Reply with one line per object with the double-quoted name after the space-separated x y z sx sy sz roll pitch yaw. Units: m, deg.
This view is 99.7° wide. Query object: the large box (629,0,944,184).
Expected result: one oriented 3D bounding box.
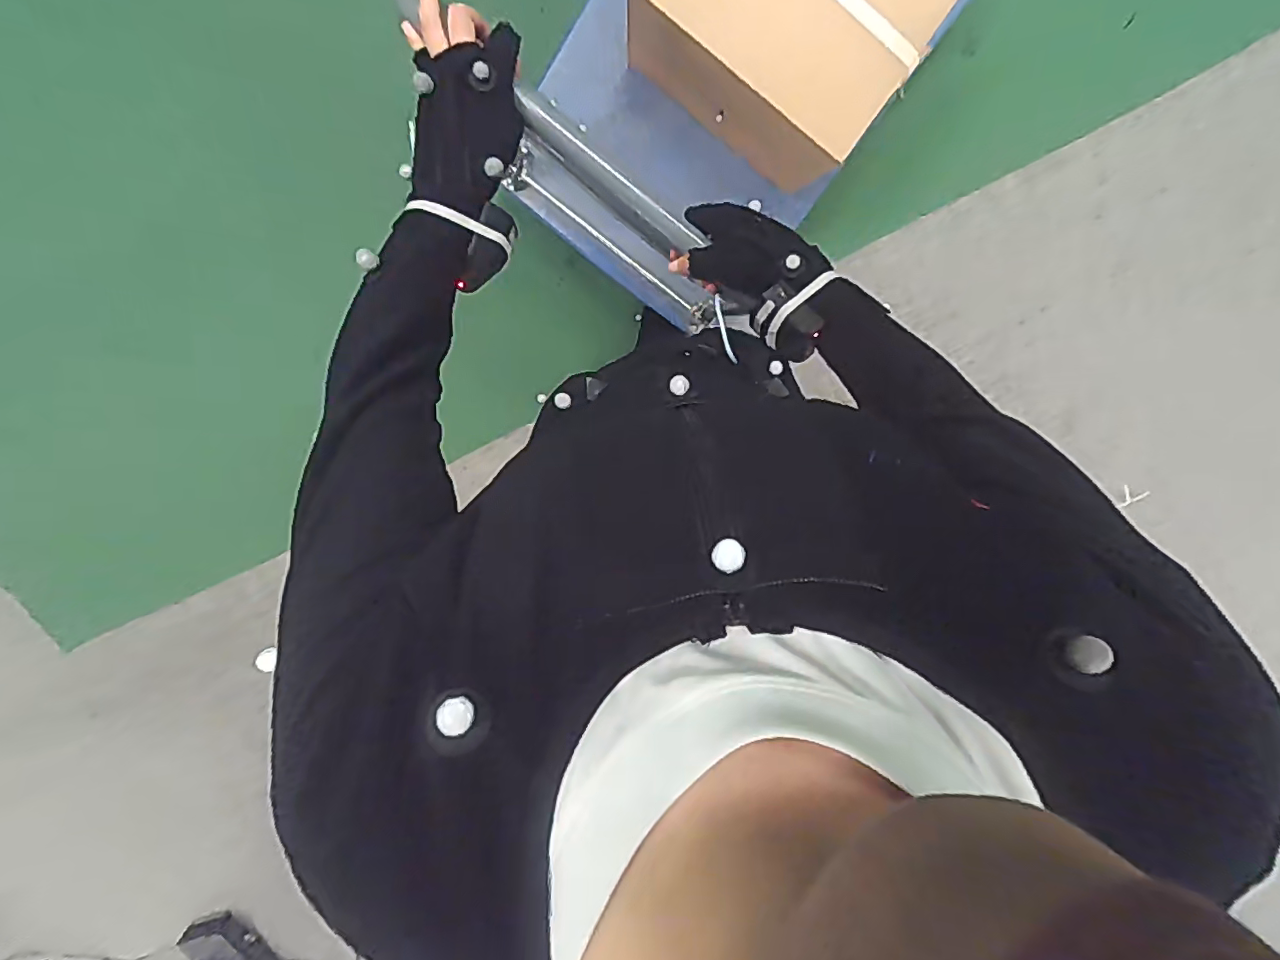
0.231 -0.778 0.907 0.408 0.320 0.320 32 106 -10 "large box"
